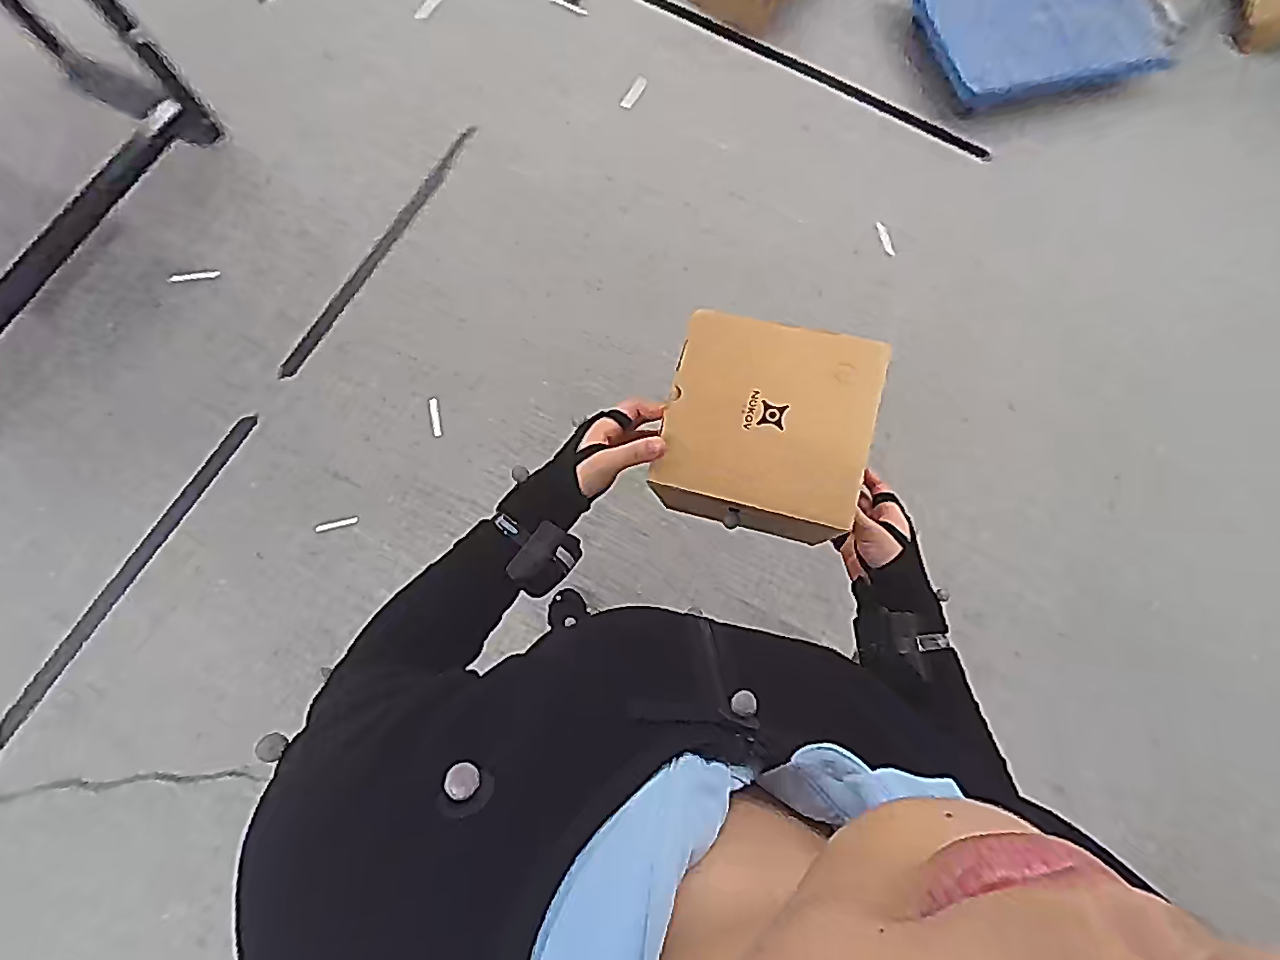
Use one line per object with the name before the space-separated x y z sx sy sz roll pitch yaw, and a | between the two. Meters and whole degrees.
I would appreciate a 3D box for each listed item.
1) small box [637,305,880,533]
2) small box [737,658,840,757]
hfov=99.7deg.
small box | 0.112 -0.047 0.535 0.179 0.176 0.168 12 81 12
small box | 0.371 0.570 1.382 0.179 0.176 0.168 30 76 3
